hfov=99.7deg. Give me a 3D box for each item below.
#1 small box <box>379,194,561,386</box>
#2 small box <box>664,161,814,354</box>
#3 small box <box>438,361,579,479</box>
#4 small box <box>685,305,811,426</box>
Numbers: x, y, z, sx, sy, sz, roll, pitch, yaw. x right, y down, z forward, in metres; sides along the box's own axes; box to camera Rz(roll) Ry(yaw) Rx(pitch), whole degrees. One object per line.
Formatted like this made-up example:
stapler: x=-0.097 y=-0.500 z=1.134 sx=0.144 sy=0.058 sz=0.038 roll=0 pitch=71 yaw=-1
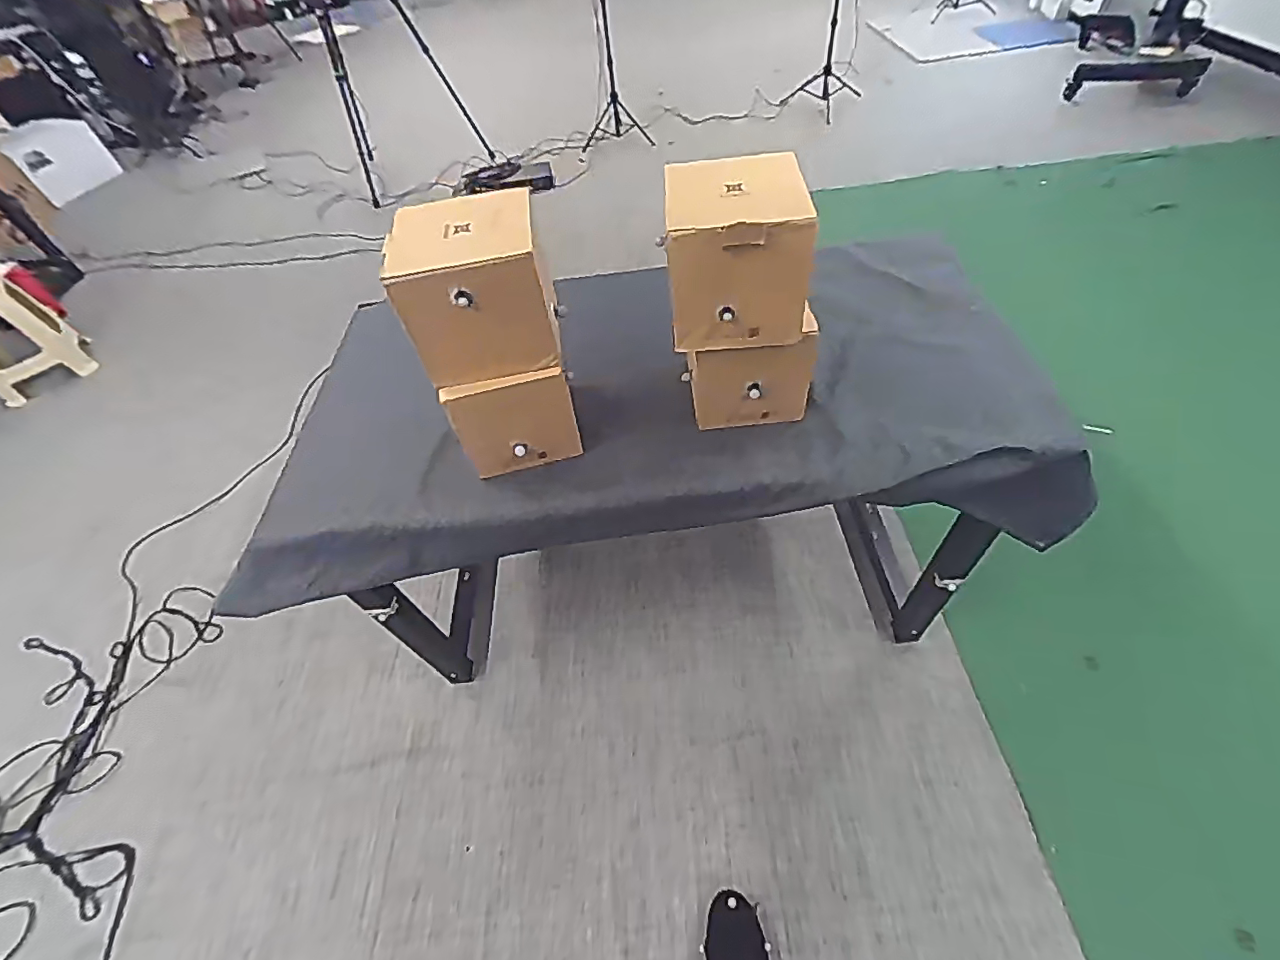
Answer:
small box: x=-0.210 y=-0.244 z=0.712 sx=0.179 sy=0.176 sz=0.168 roll=-10 pitch=53 yaw=-3
small box: x=0.116 y=-0.288 z=0.707 sx=0.168 sy=0.176 sz=0.179 roll=-3 pitch=52 yaw=4
small box: x=-0.197 y=-0.130 z=0.828 sx=0.168 sy=0.176 sz=0.179 roll=-14 pitch=52 yaw=-4
small box: x=0.156 y=-0.198 z=0.841 sx=0.168 sy=0.176 sz=0.179 roll=-6 pitch=52 yaw=2
